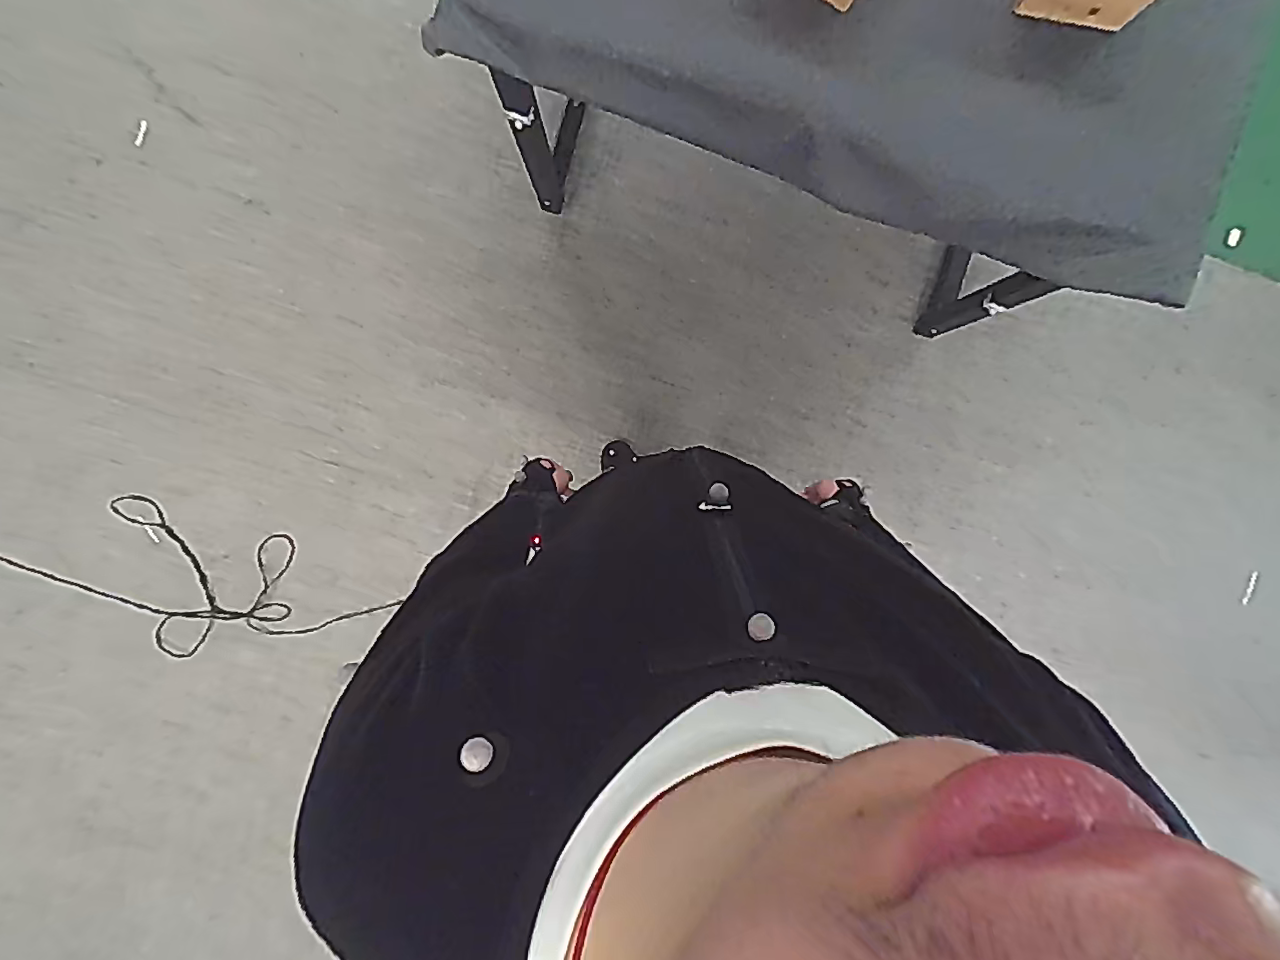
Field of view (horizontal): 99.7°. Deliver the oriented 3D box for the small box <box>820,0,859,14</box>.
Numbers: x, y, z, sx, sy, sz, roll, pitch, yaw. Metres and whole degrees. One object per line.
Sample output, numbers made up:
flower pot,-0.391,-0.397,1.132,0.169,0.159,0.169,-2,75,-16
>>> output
small box,0.286,-0.798,0.725,0.168,0.176,0.179,32,92,-3
